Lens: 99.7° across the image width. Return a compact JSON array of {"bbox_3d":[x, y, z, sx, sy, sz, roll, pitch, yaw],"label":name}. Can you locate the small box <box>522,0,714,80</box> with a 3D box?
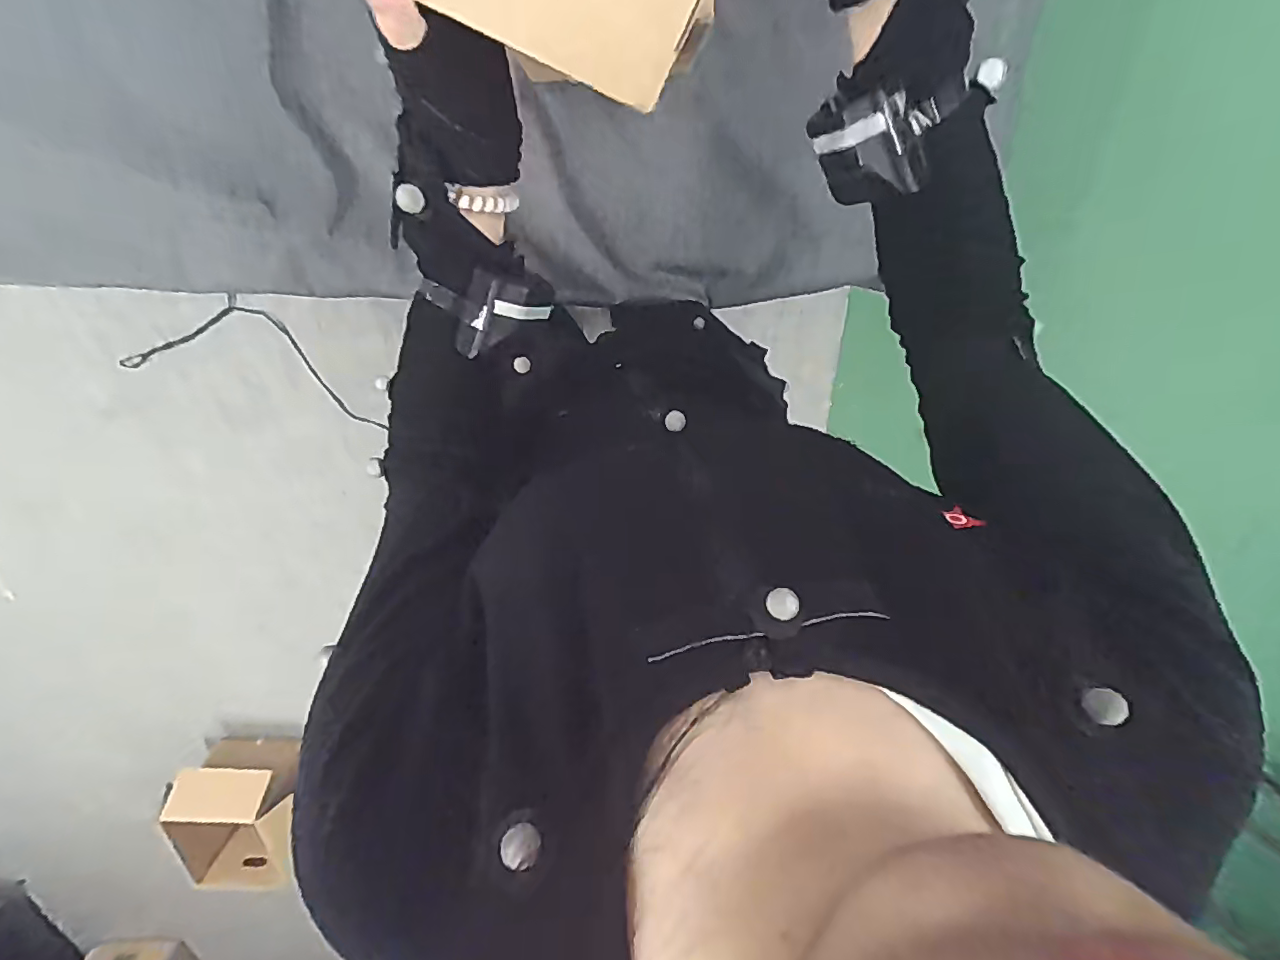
[{"bbox_3d":[-0.032,-0.456,0.442,0.168,0.176,0.179,-3,116,0],"label":"small box"}]

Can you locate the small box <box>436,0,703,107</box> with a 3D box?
[{"bbox_3d":[-0.037,-0.312,0.218,0.179,0.176,0.168,11,151,-24],"label":"small box"}]
